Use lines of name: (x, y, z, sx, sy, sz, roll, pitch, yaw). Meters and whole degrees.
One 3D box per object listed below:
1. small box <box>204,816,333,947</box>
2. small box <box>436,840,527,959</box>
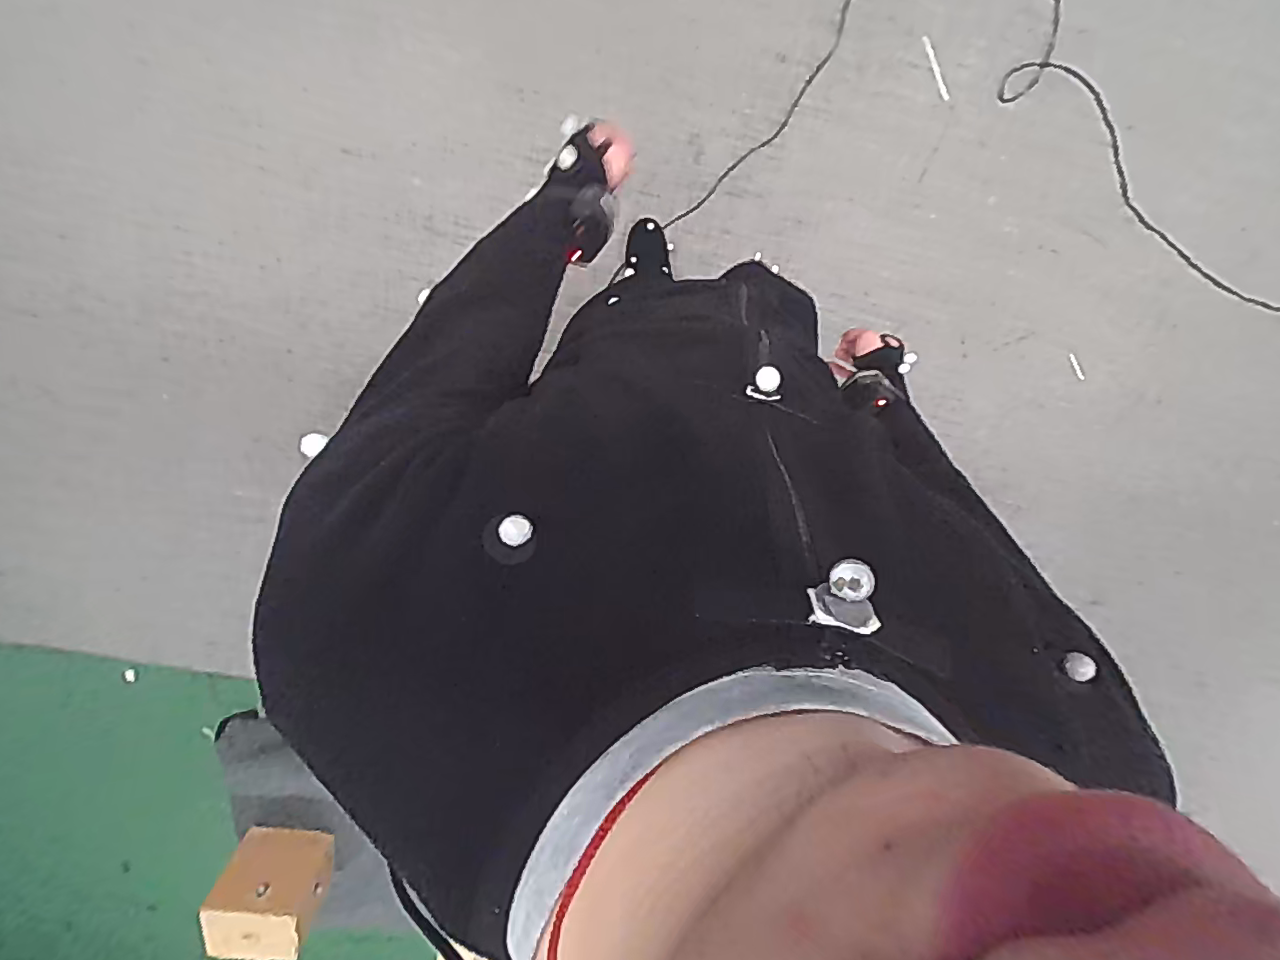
small box: (-0.785, 0.860, 1.164, 0.179, 0.176, 0.168, 12, 114, -7)
small box: (-0.357, 0.966, 1.236, 0.168, 0.176, 0.179, 9, 115, -7)
